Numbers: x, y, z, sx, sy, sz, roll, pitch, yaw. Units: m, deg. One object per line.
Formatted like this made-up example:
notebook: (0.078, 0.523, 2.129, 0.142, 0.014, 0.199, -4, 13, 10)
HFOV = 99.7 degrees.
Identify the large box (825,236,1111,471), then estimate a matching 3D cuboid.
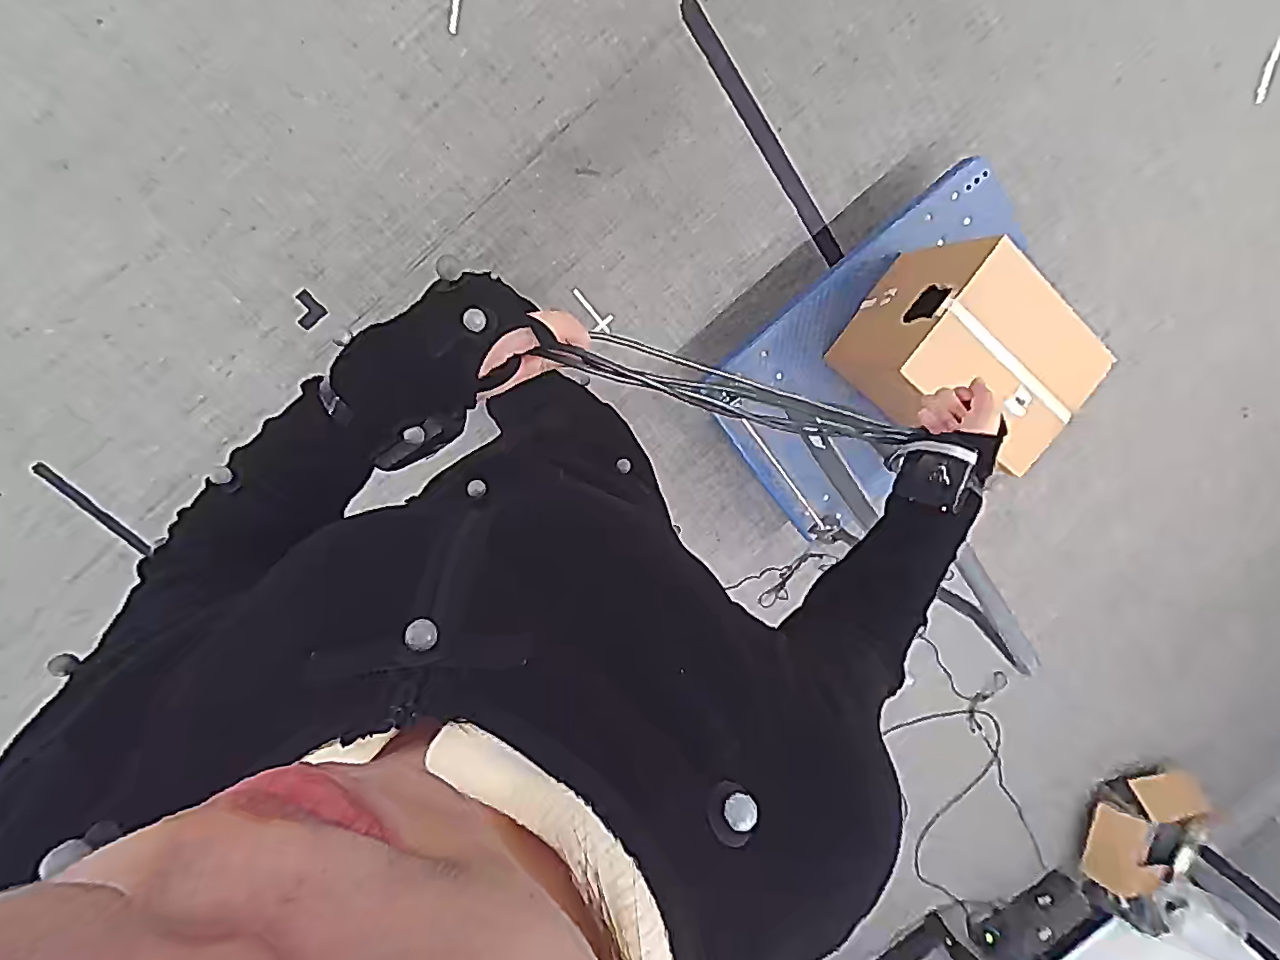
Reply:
large box: (0.716, -0.282, 1.230, 0.408, 0.320, 0.320, 33, 99, -19)
